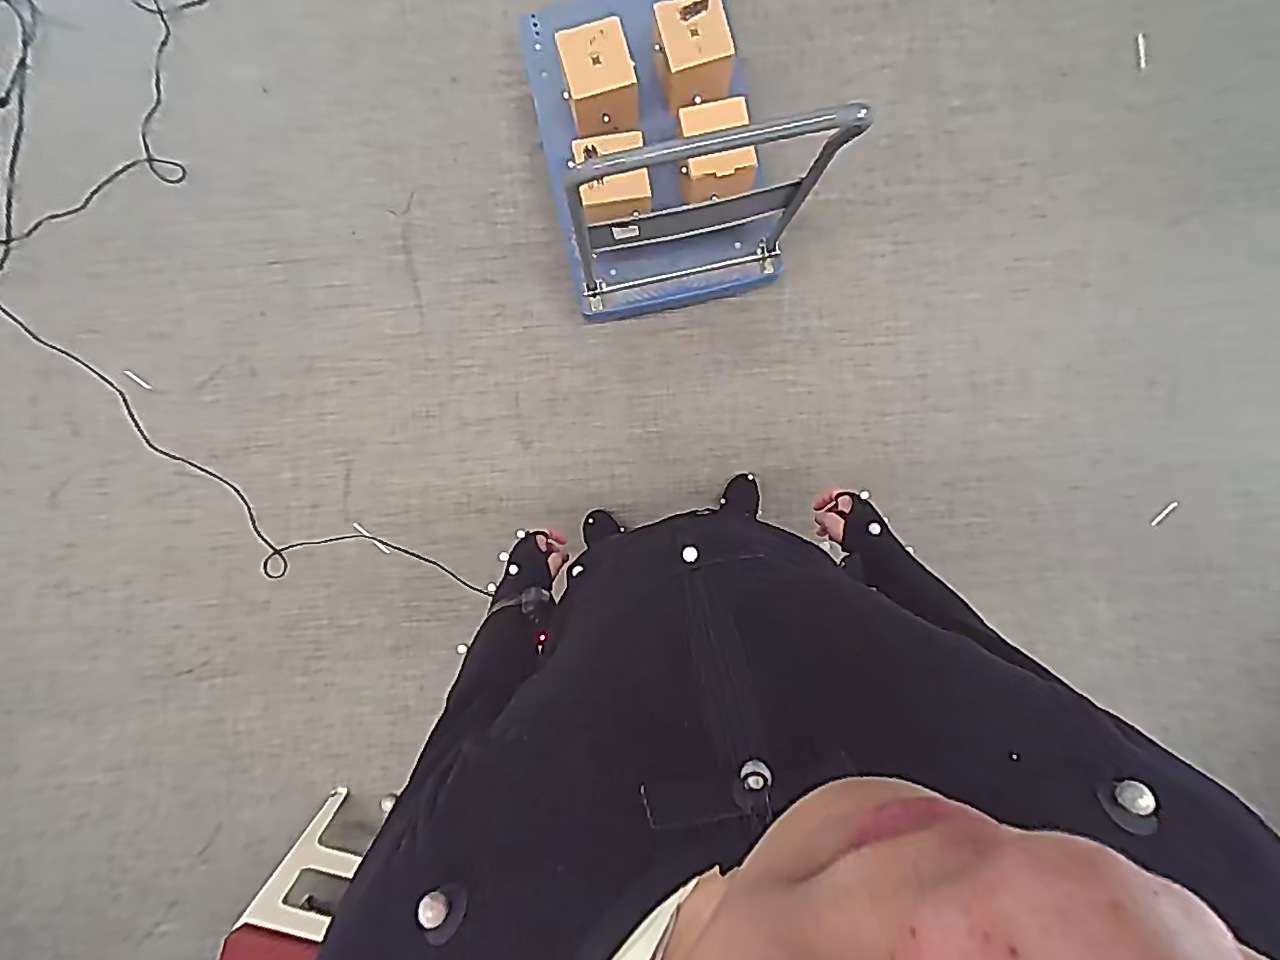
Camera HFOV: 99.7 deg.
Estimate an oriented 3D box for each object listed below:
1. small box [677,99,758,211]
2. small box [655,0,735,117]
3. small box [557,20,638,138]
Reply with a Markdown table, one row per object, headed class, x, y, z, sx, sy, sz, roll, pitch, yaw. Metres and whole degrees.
| class | x | y | z | sx | sy | sz | roll | pitch | yaw |
| --- | --- | --- | --- | --- | --- | --- | --- | --- | --- |
| small box | 0.196 | -0.843 | 1.413 | 0.168 | 0.176 | 0.179 | -12 | 89 | 0 |
| small box | 0.137 | -1.107 | 1.416 | 0.168 | 0.176 | 0.179 | -16 | 90 | 2 |
| small box | -0.104 | -1.036 | 1.419 | 0.168 | 0.176 | 0.179 | -16 | 89 | 0 |
